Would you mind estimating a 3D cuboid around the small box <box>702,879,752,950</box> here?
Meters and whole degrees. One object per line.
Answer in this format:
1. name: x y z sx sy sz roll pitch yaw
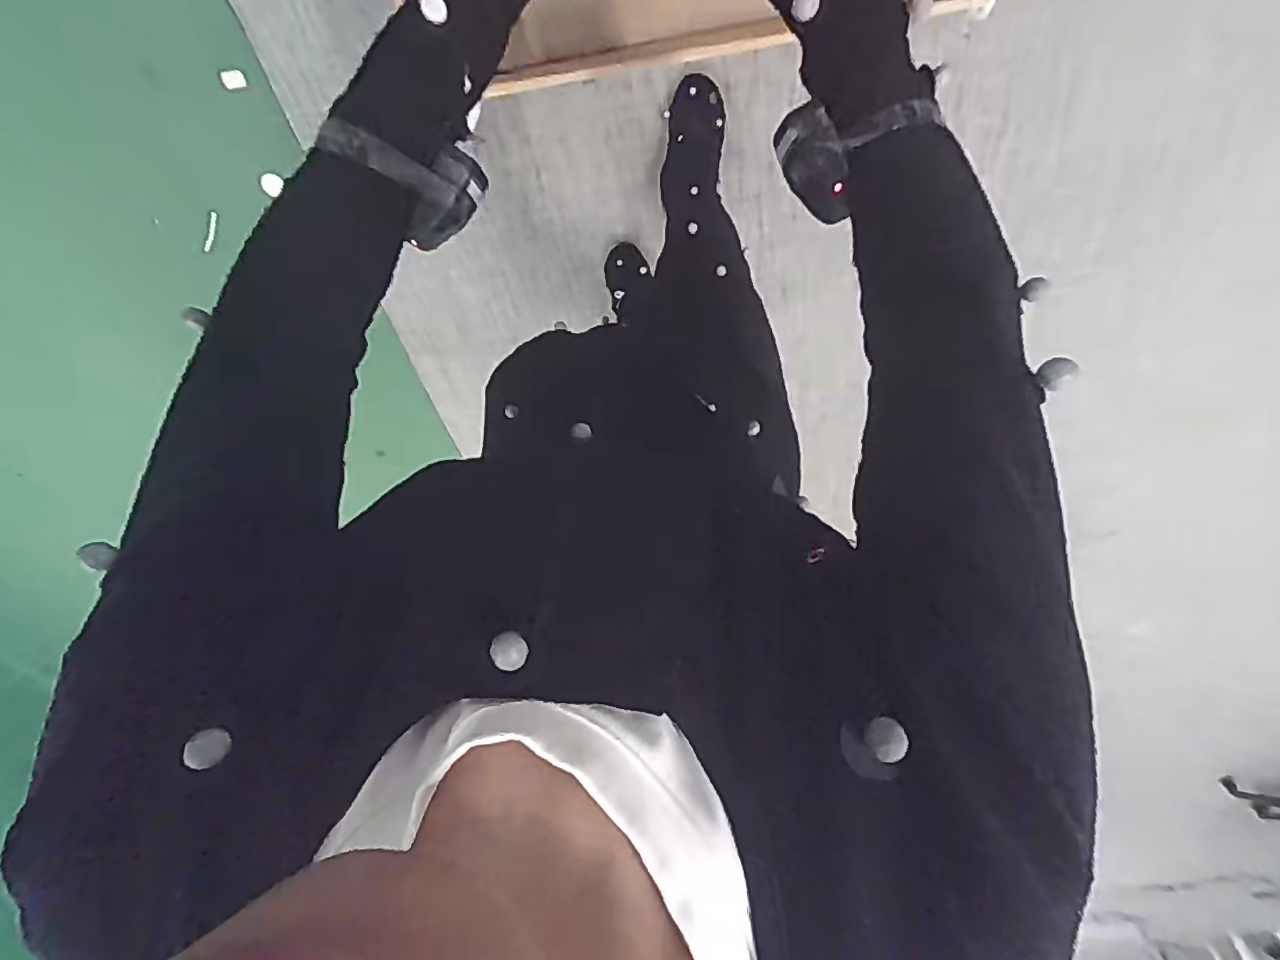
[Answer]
1. small box: 0.313 1.564 1.949 0.168 0.176 0.179 -5 129 12
